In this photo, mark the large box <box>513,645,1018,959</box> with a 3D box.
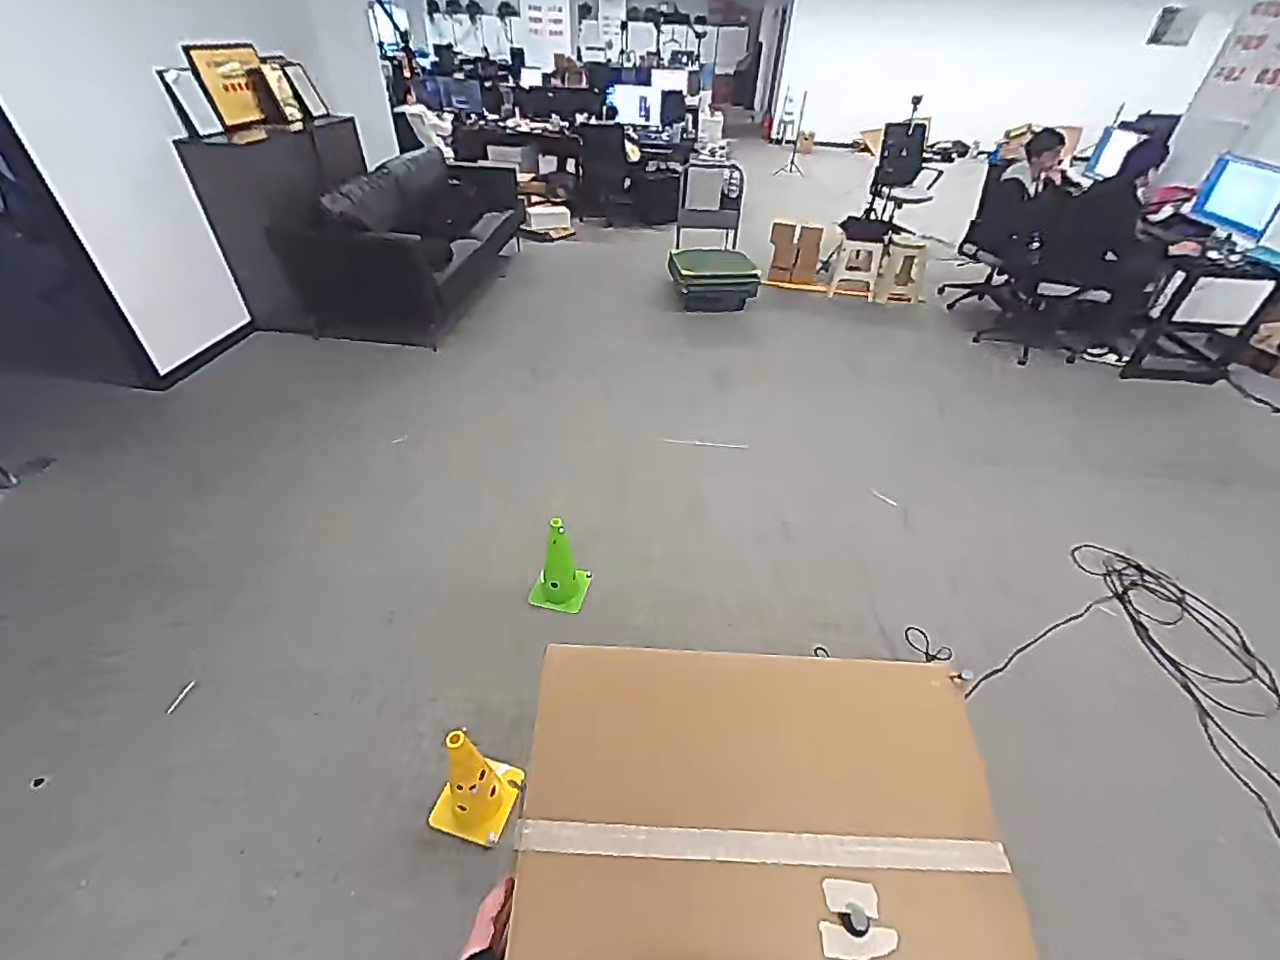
[{"bbox_3d":[0.096,0.383,0.588,0.408,0.320,0.320,3,59,0],"label":"large box"}]

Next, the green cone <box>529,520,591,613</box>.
[{"bbox_3d":[-0.299,0.282,1.955,0.200,0.368,0.202,9,41,8],"label":"green cone"}]
